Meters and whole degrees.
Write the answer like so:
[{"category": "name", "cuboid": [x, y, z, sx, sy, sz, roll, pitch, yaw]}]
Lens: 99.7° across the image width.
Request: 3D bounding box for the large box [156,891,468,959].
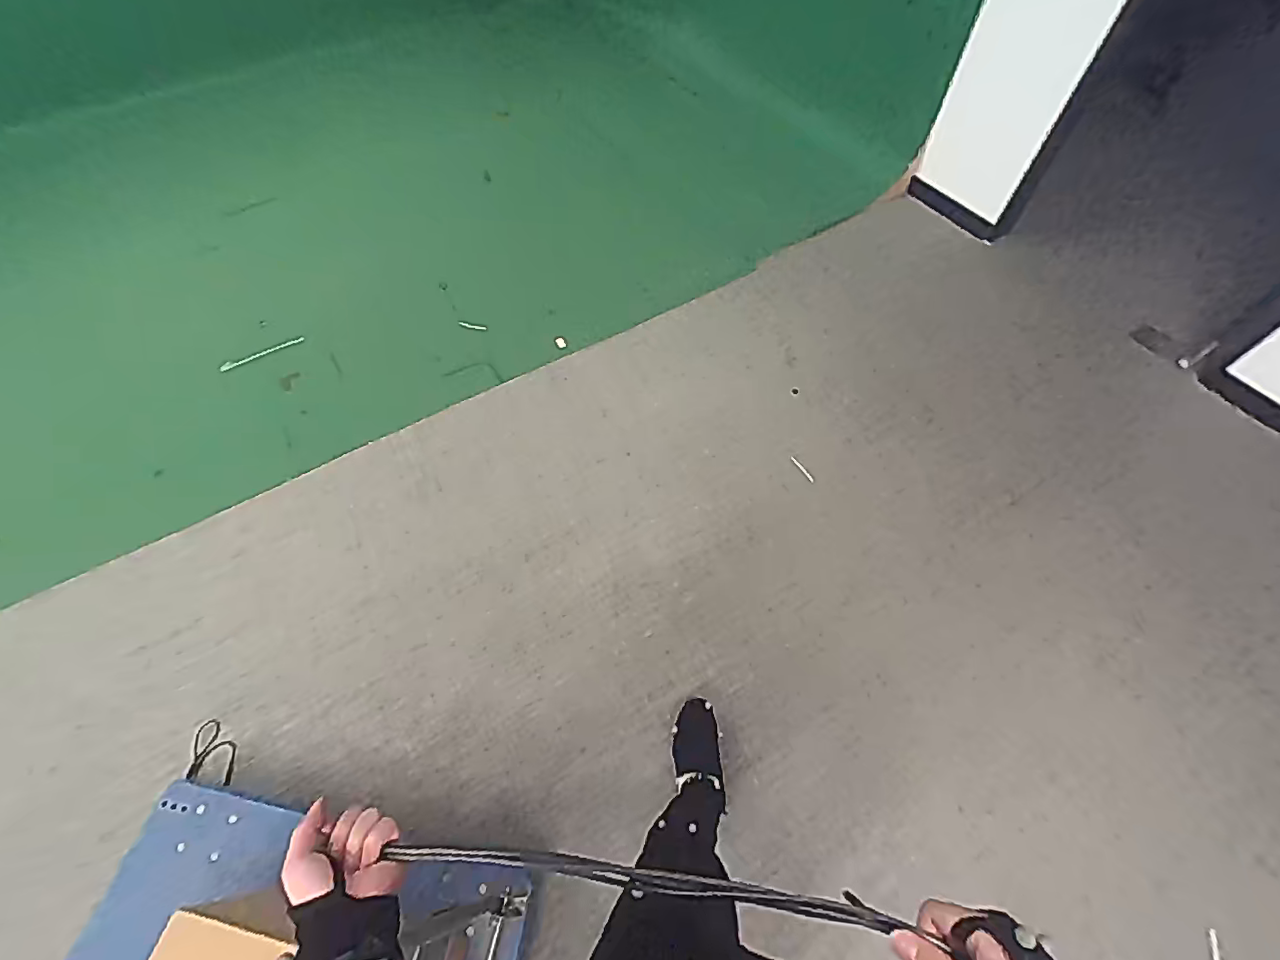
[{"category": "large box", "cuboid": [-0.557, 0.920, 0.877, 0.408, 0.320, 0.320, 9, 59, 8]}]
